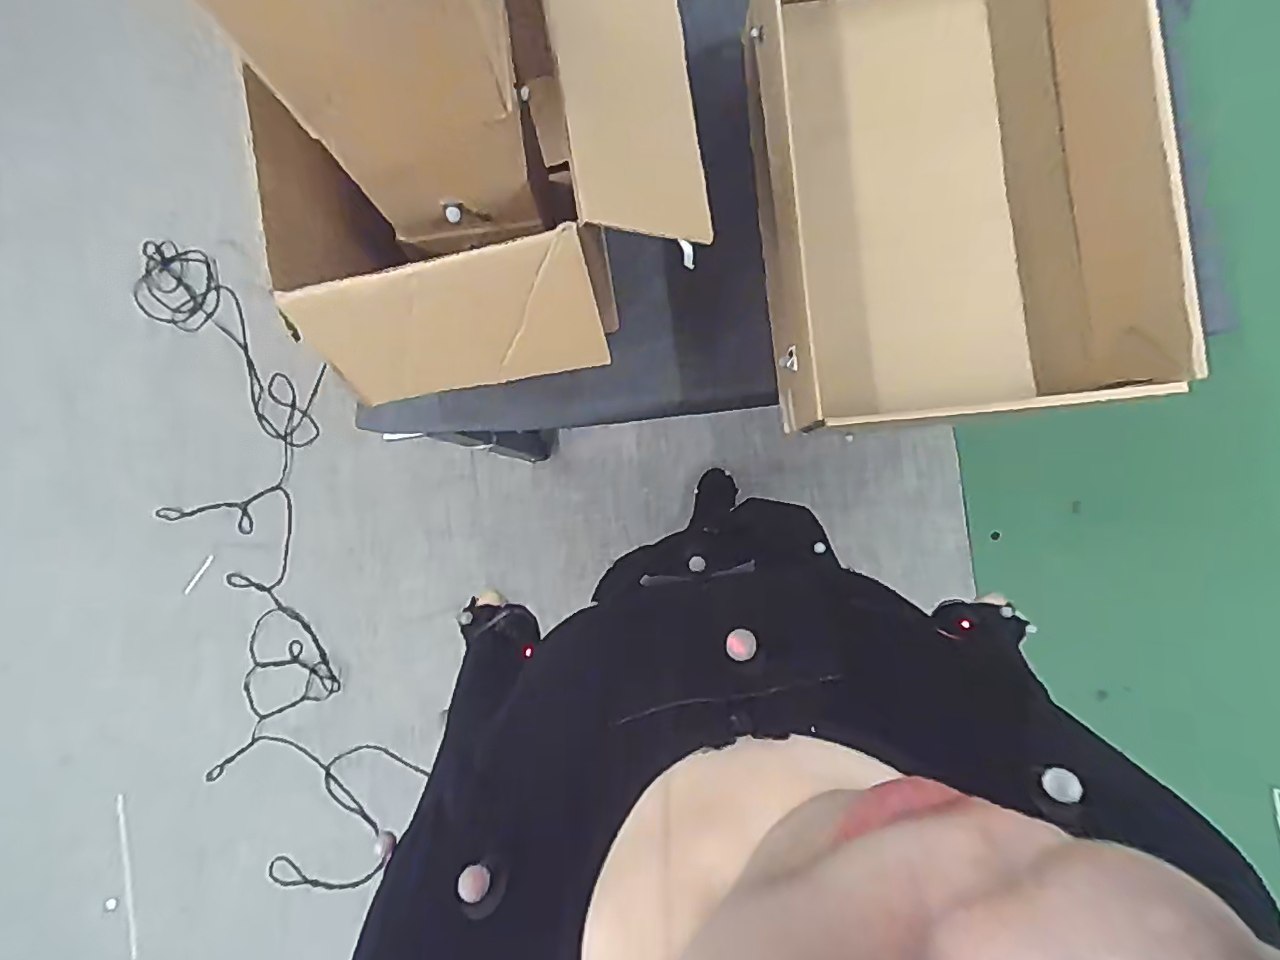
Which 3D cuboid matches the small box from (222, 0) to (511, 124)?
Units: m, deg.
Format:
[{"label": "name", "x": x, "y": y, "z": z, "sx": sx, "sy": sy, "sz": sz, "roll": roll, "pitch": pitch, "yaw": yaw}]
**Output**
[{"label": "small box", "x": -0.206, "y": -0.395, "z": 0.394, "sx": 0.179, "sy": 0.176, "sz": 0.168, "roll": -6, "pitch": 87, "yaw": -1}]
